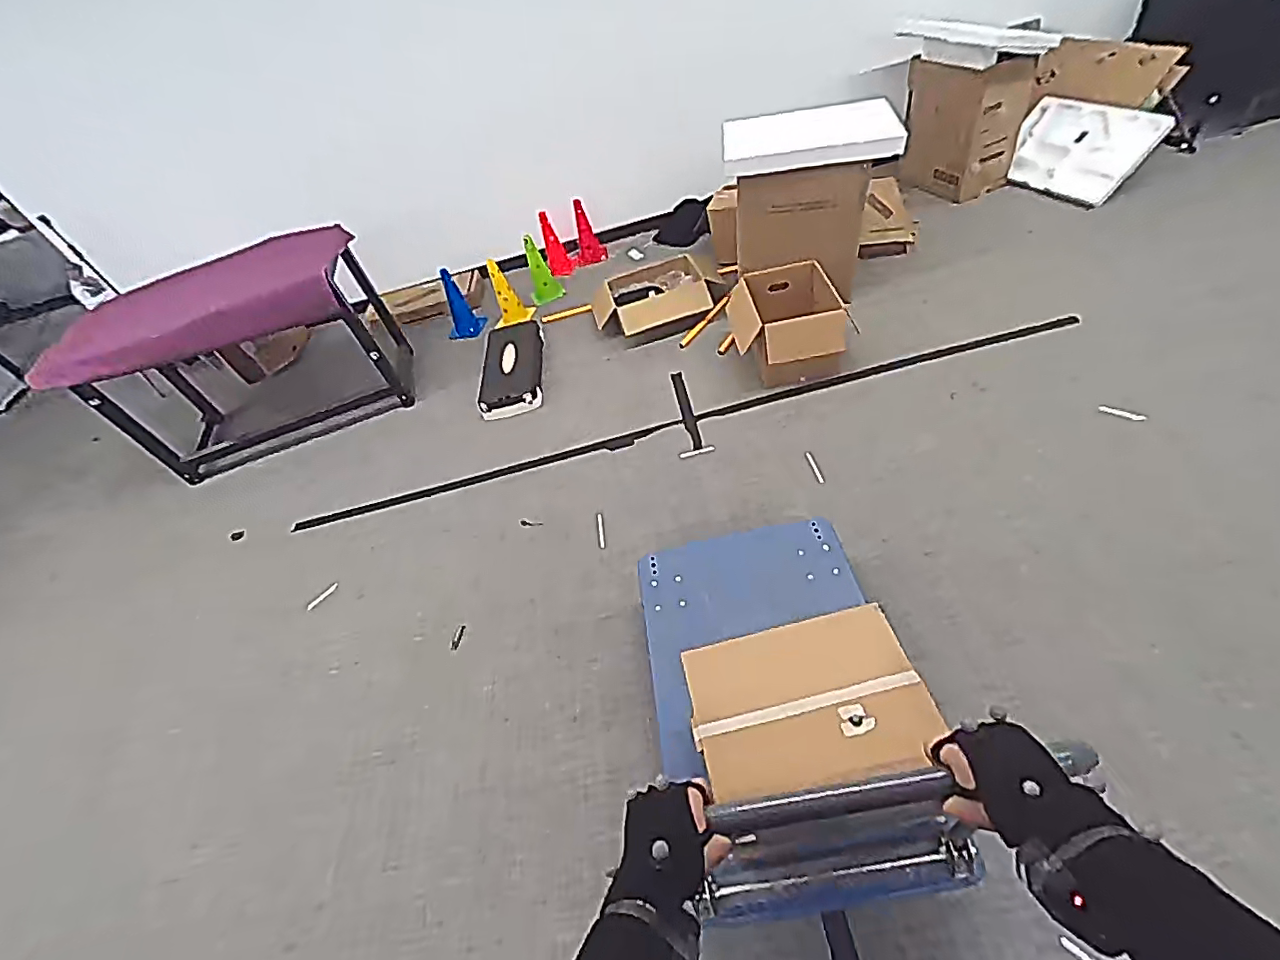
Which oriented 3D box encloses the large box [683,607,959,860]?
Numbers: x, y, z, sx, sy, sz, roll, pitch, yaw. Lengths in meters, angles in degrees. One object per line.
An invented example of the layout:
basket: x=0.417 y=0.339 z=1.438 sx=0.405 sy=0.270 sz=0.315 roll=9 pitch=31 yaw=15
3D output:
large box: x=0.329 y=0.512 z=1.085 sx=0.408 sy=0.320 sz=0.320 roll=-15 pitch=47 yaw=1
